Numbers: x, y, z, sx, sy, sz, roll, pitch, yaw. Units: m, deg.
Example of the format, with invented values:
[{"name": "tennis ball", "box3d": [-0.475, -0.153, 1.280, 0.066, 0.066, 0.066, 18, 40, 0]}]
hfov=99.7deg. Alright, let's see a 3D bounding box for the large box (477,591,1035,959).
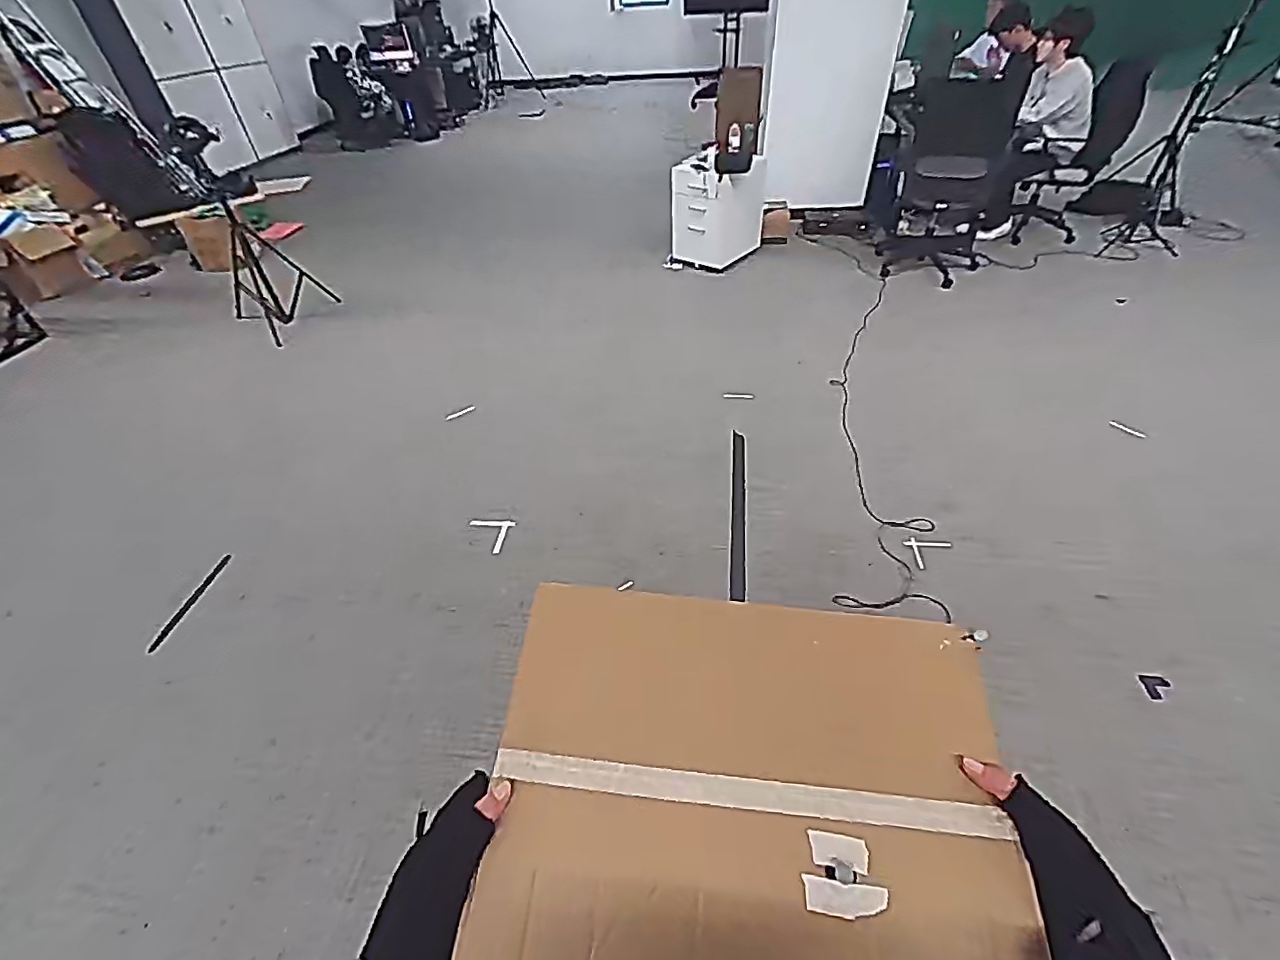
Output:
[{"name": "large box", "box3d": [0.091, 0.334, 0.565, 0.408, 0.320, 0.320, 5, 58, 4]}]
